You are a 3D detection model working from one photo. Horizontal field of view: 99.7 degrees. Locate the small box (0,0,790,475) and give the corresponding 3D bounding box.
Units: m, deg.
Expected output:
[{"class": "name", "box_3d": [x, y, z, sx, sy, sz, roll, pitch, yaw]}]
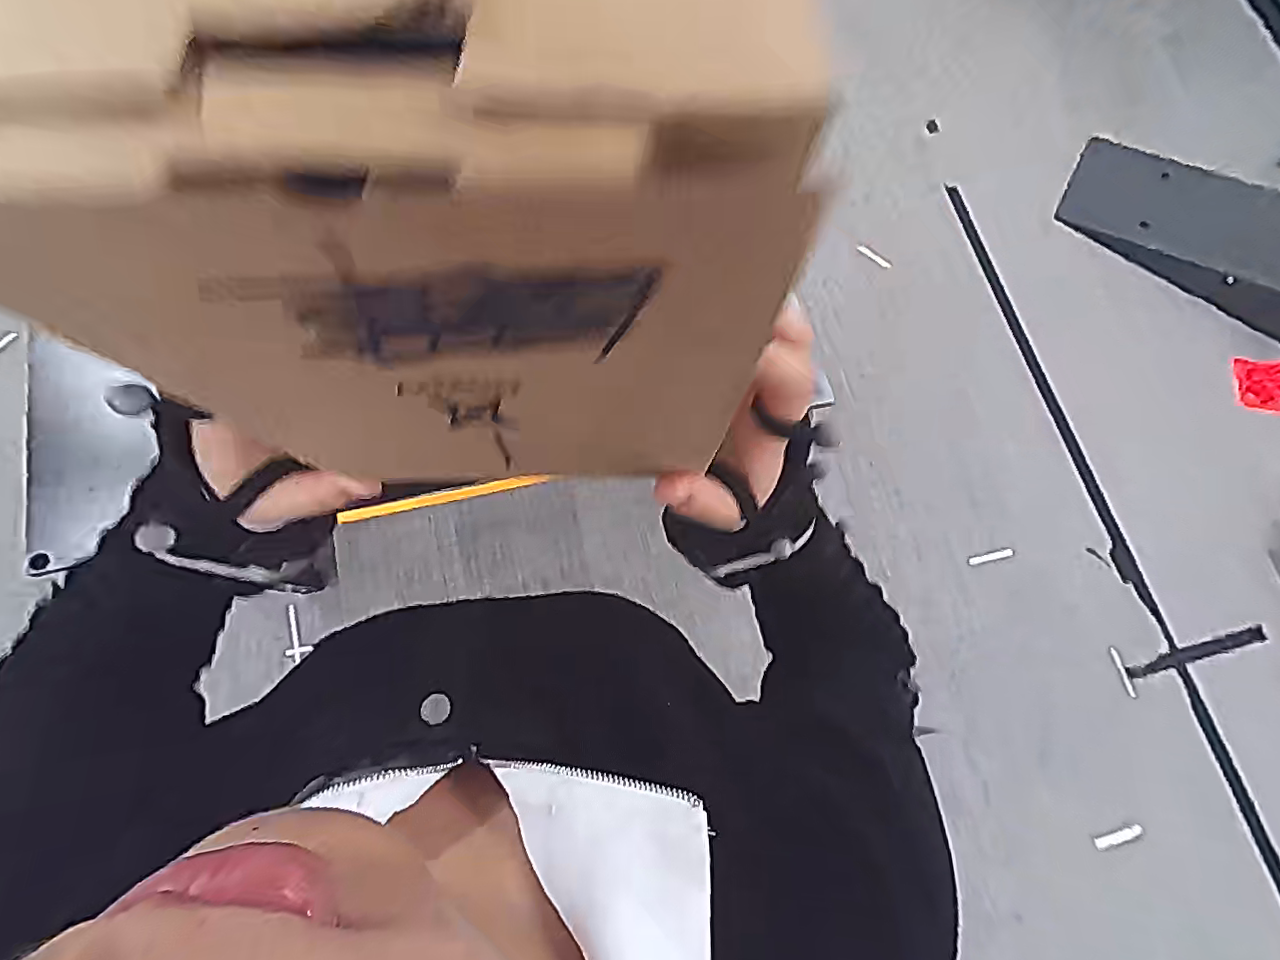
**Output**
[{"class": "small box", "box_3d": [-0.055, -0.111, 0.203, 0.168, 0.179, 0.176, -1, 71, 0]}]
